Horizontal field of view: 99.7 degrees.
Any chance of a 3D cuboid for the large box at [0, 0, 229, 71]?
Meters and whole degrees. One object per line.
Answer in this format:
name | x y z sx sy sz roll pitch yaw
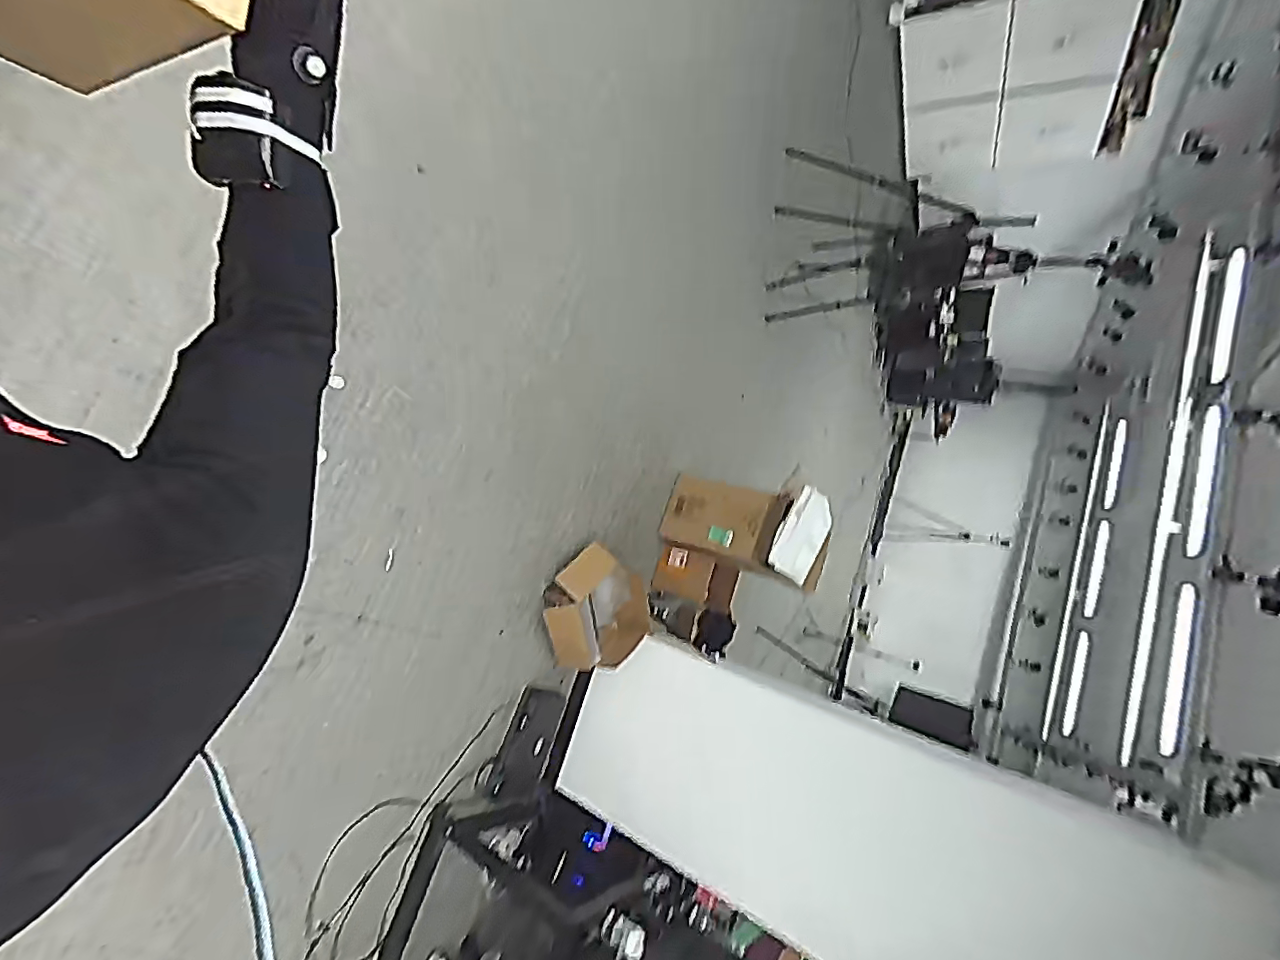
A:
large box | -0.479 -0.496 0.251 0.408 0.320 0.320 0 103 -61
